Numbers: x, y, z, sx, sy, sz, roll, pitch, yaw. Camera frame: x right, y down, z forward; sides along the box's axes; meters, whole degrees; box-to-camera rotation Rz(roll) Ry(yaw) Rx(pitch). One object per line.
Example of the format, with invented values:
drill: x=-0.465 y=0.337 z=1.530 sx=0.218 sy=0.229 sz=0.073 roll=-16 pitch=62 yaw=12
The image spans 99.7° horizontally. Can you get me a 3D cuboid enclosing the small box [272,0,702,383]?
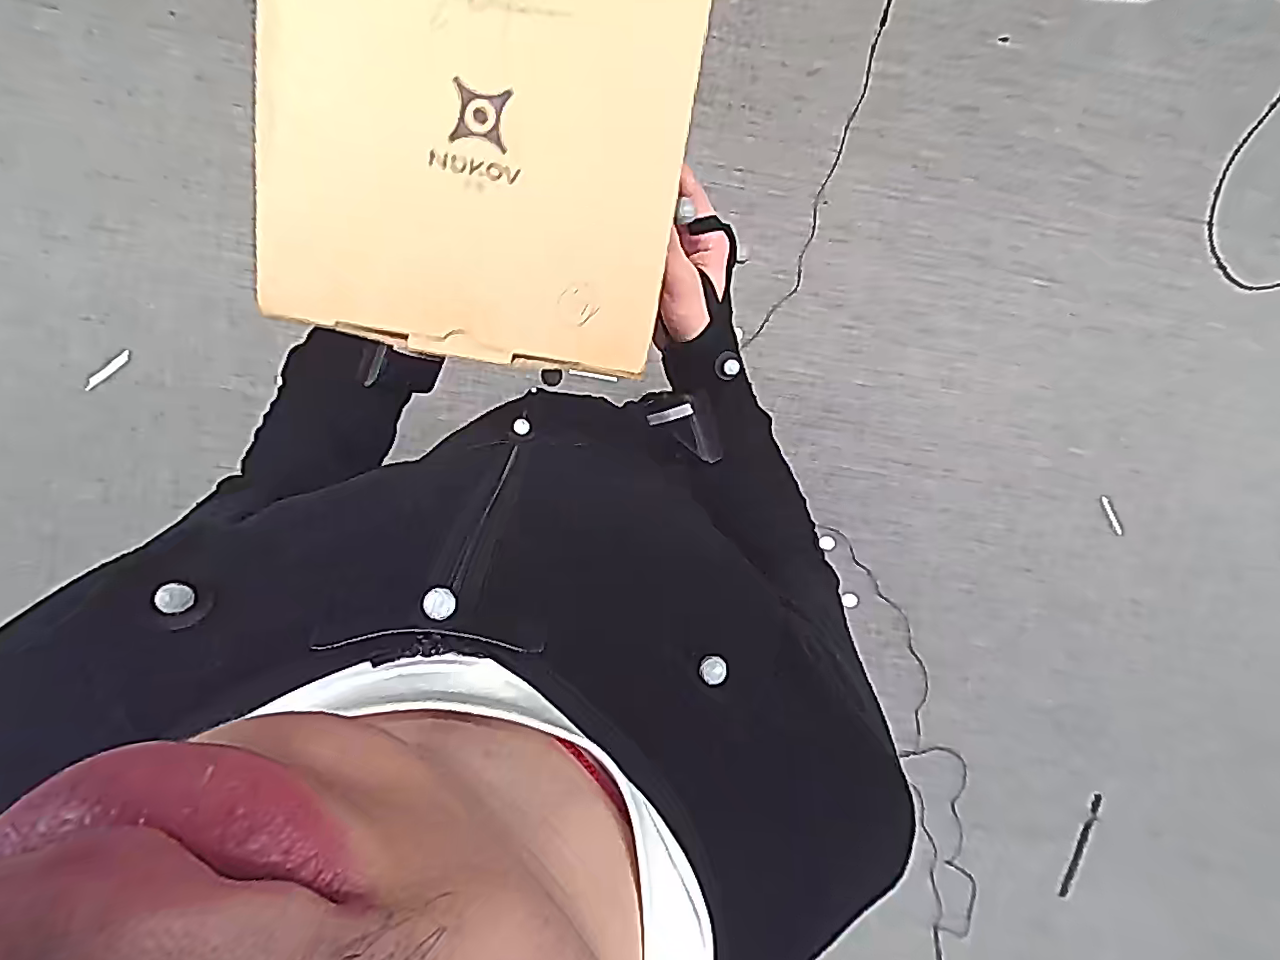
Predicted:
small box: x=-0.073 y=-0.160 z=0.305 sx=0.168 sy=0.176 sz=0.179 roll=8 pitch=103 yaw=-7
